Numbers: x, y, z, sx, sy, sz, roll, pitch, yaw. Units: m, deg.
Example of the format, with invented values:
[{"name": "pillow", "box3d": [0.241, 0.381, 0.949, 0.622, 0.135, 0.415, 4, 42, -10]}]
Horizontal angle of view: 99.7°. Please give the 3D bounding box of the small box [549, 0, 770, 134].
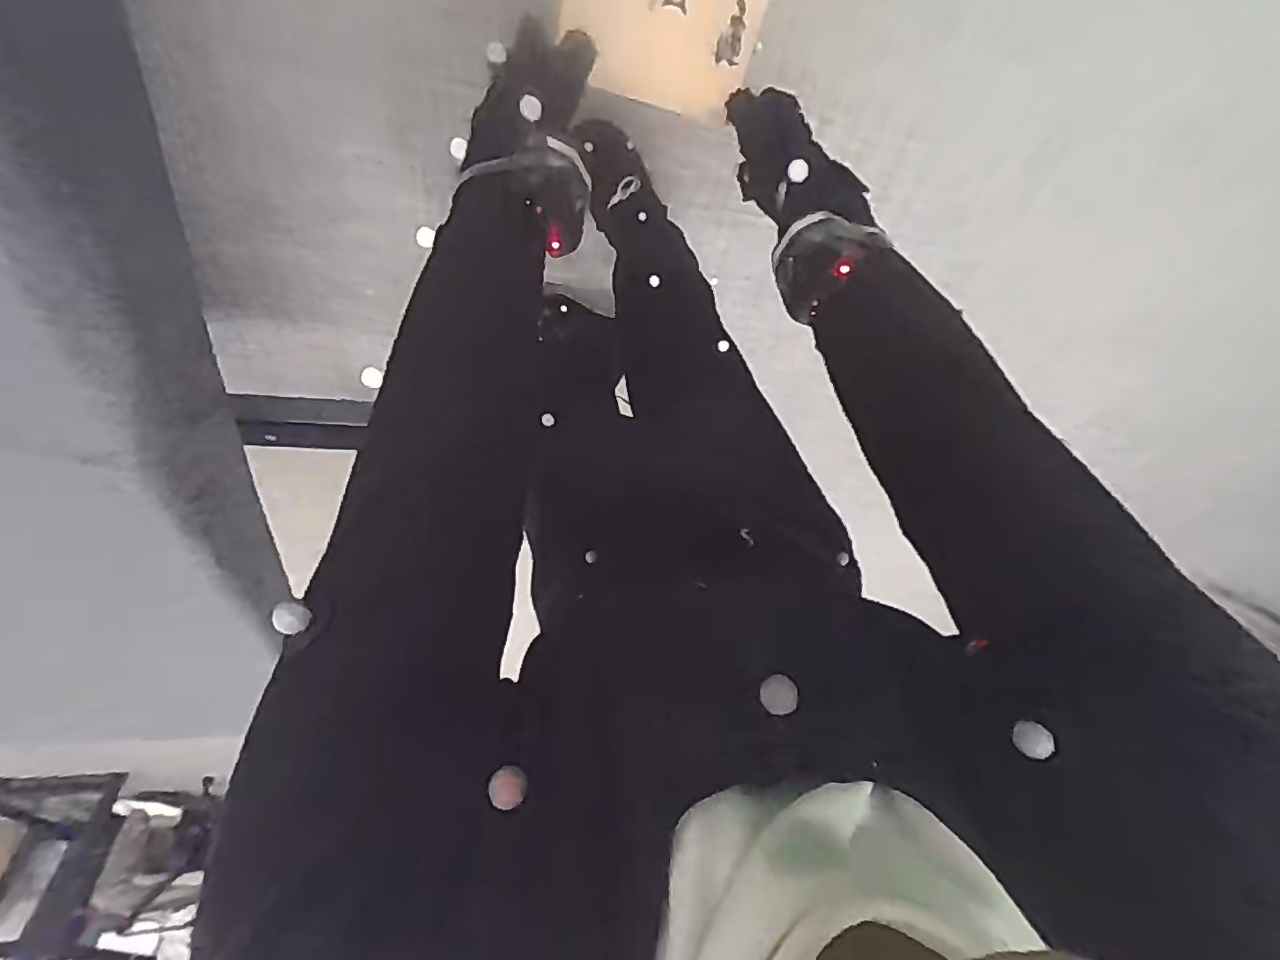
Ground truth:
[{"name": "small box", "box3d": [0.019, -0.464, 0.513, 0.179, 0.176, 0.168, 9, 134, -13]}]
